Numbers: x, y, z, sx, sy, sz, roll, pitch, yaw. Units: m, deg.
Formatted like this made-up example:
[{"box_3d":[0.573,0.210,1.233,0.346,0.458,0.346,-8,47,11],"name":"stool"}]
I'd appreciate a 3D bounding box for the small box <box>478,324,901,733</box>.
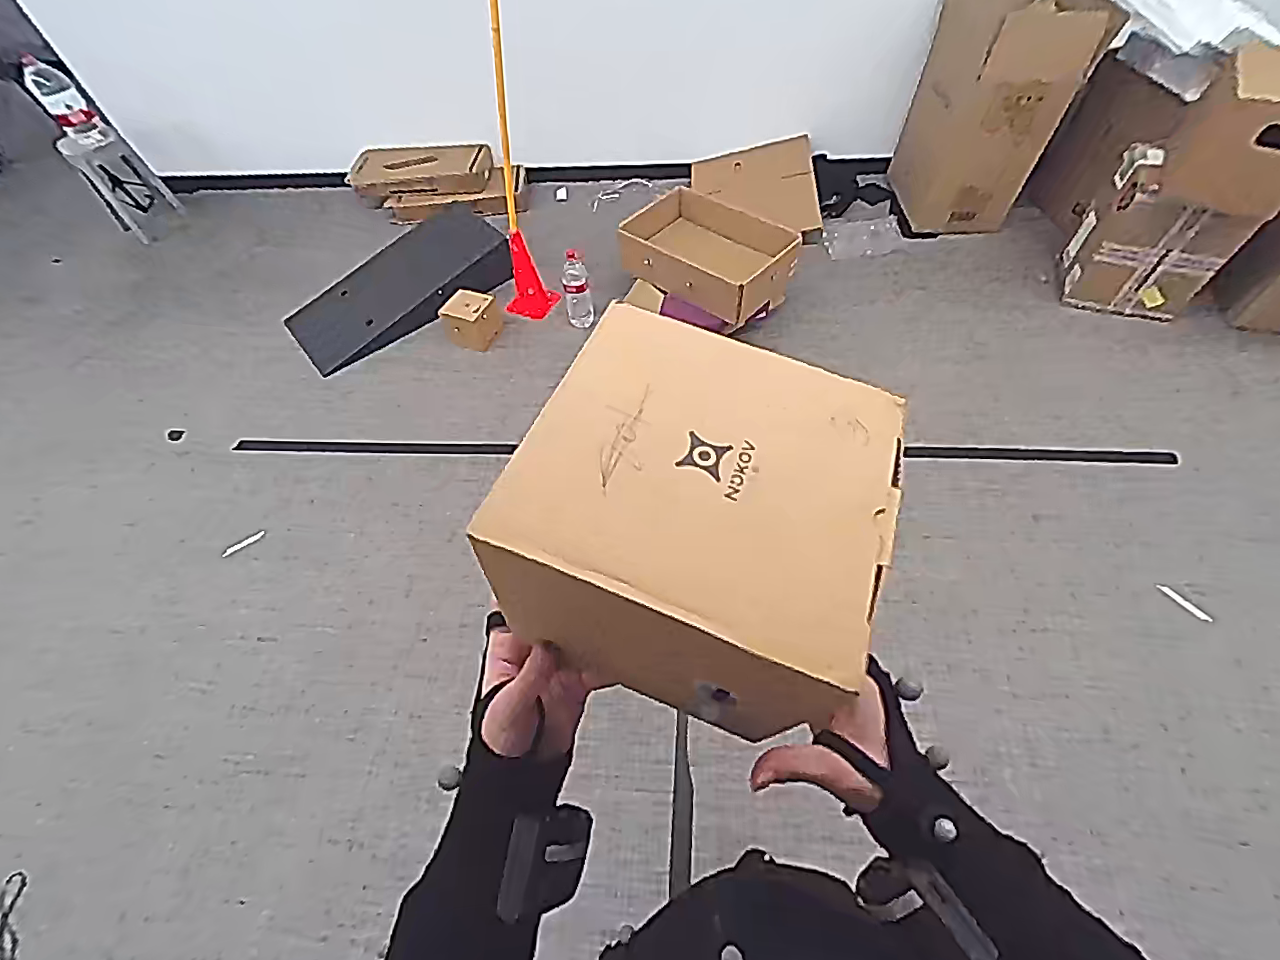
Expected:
[{"box_3d":[0.030,0.041,0.337,0.179,0.176,0.168,20,58,8],"name":"small box"}]
